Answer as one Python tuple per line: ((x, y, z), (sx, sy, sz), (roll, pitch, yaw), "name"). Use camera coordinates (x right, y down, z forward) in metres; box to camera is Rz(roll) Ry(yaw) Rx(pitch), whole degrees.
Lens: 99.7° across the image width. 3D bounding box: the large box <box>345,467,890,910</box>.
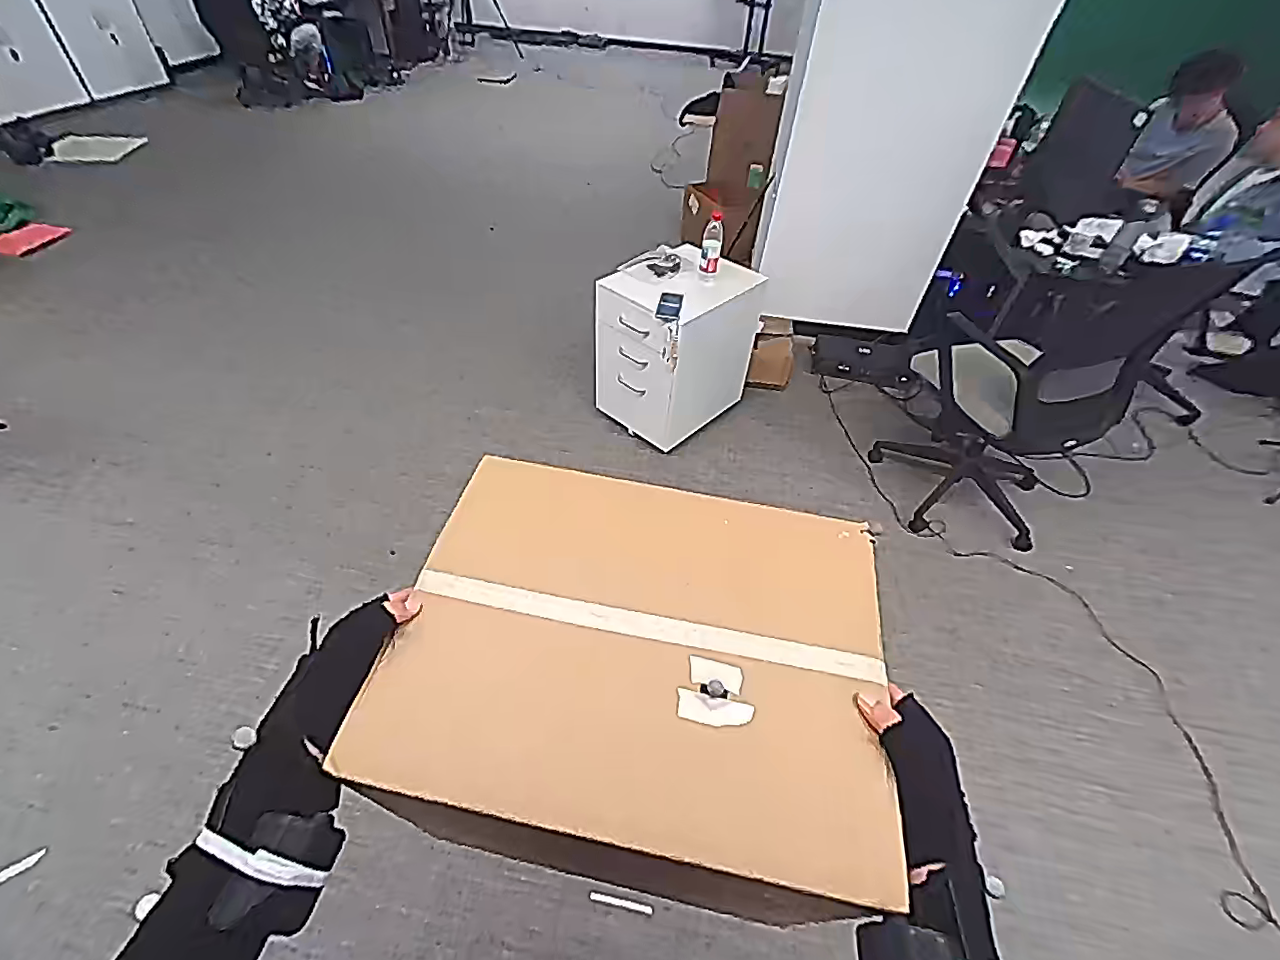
((-0.007, 0.226, 0.588), (0.408, 0.320, 0.320), (11, 51, 5), "large box")
